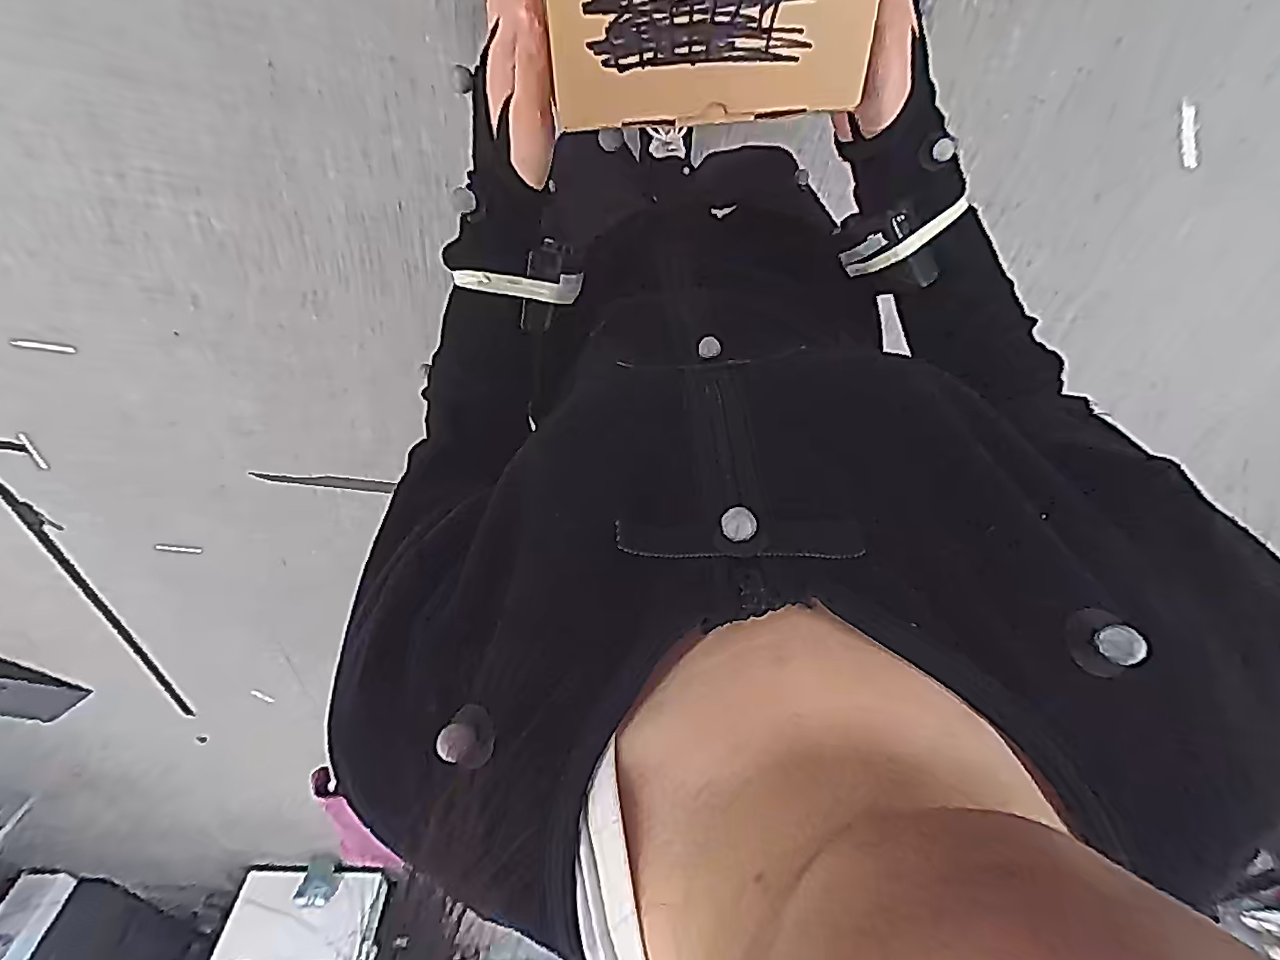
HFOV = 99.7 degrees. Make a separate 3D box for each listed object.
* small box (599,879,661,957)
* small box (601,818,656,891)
[{"bbox_3d":[-0.035,1.356,1.677,0.179,0.176,0.168,2,133,-5],"label":"small box"},{"bbox_3d":[-0.041,1.249,1.798,0.168,0.176,0.179,3,131,-5],"label":"small box"}]
